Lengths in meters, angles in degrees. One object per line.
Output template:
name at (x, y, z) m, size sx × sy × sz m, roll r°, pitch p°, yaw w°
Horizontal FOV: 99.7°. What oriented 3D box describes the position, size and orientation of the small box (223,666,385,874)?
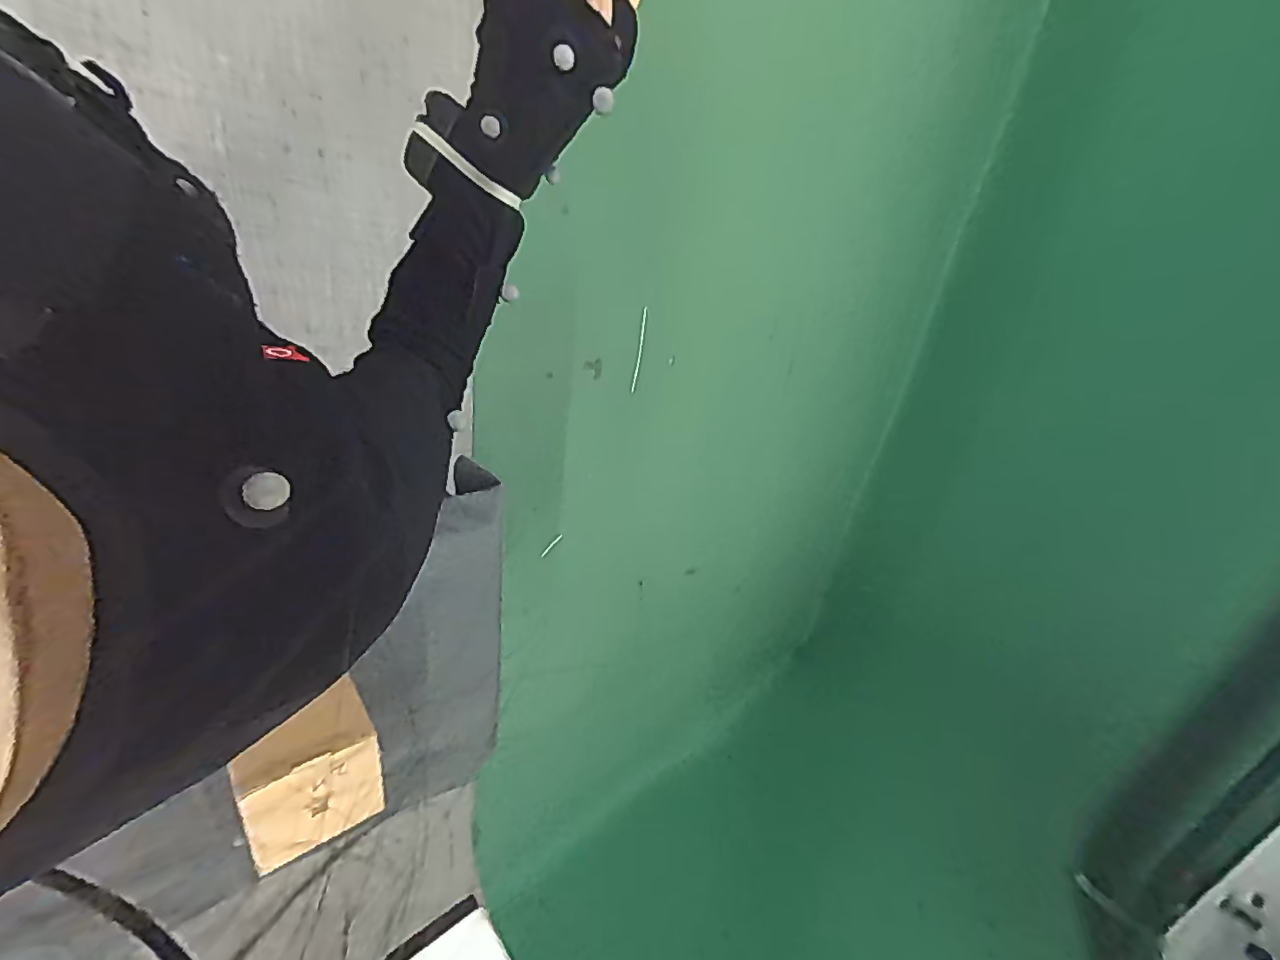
small box at (-0.497, 0.418, 0.806) m, size 0.168 × 0.176 × 0.179 m, roll -15°, pitch 125°, yaw -40°
